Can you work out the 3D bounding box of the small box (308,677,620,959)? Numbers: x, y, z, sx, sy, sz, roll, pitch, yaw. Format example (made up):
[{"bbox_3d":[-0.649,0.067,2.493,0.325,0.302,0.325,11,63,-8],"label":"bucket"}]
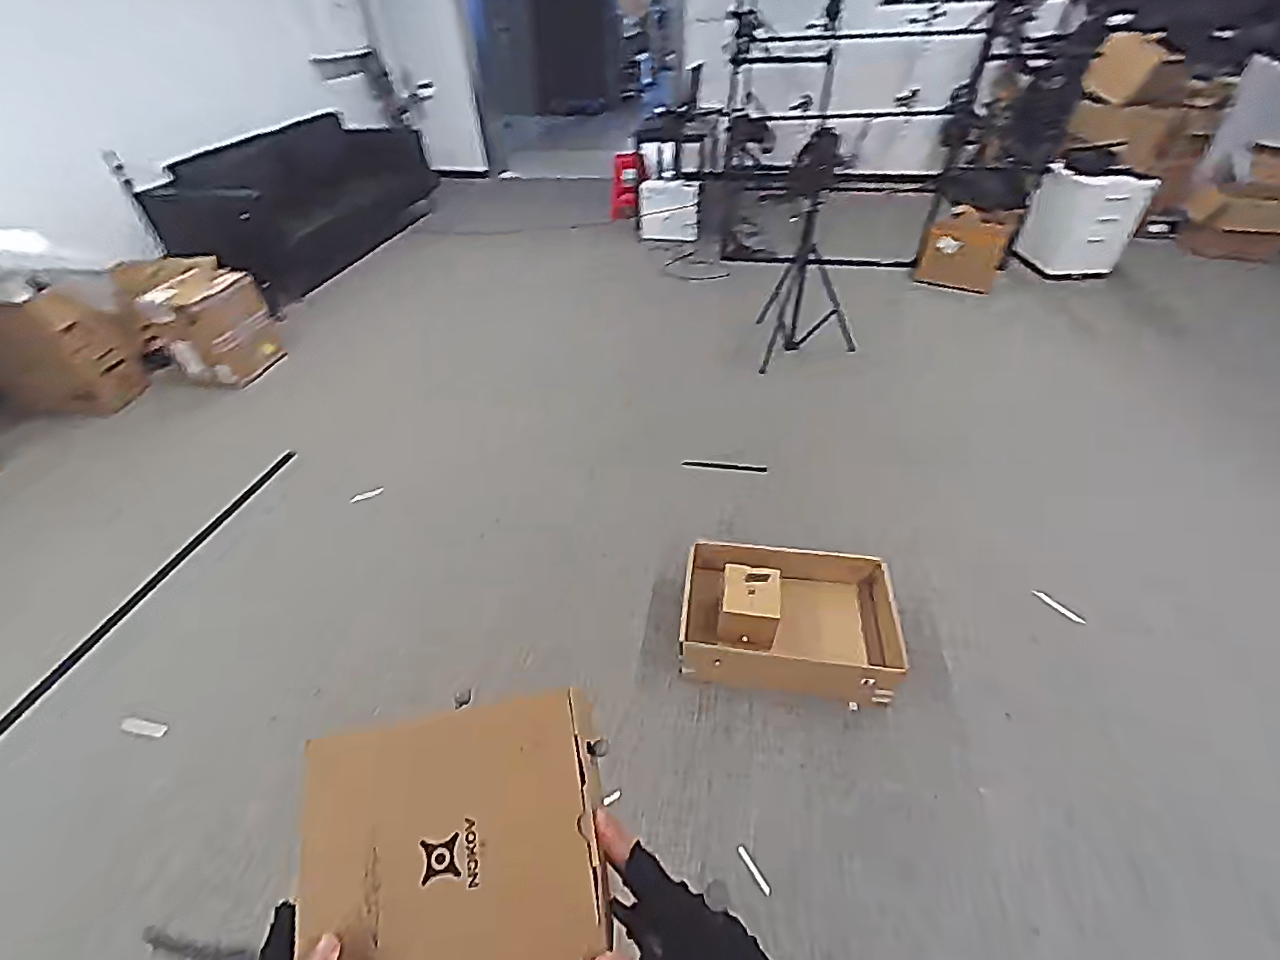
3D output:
[{"bbox_3d":[-0.113,0.250,0.404,0.179,0.176,0.168,-10,67,-5],"label":"small box"}]

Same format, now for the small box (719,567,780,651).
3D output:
[{"bbox_3d":[0.333,0.397,1.662,0.168,0.176,0.179,5,43,8],"label":"small box"}]
